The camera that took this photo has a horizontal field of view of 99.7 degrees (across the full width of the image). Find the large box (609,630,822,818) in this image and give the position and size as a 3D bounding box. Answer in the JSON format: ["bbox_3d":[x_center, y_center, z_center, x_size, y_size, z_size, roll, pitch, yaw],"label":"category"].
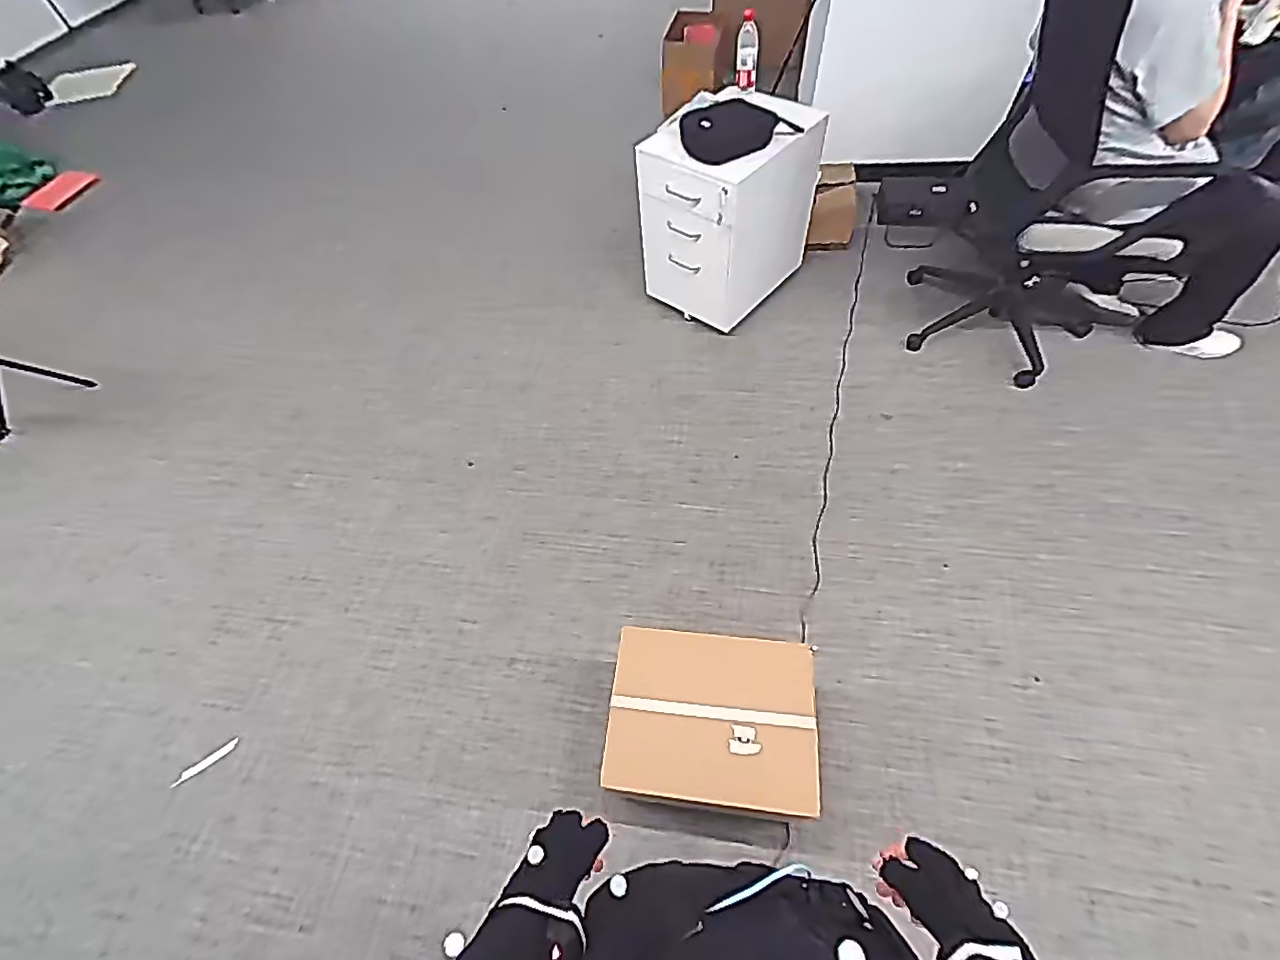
[{"bbox_3d":[0.161,0.550,1.210,0.408,0.320,0.320,4,58,7],"label":"large box"}]
